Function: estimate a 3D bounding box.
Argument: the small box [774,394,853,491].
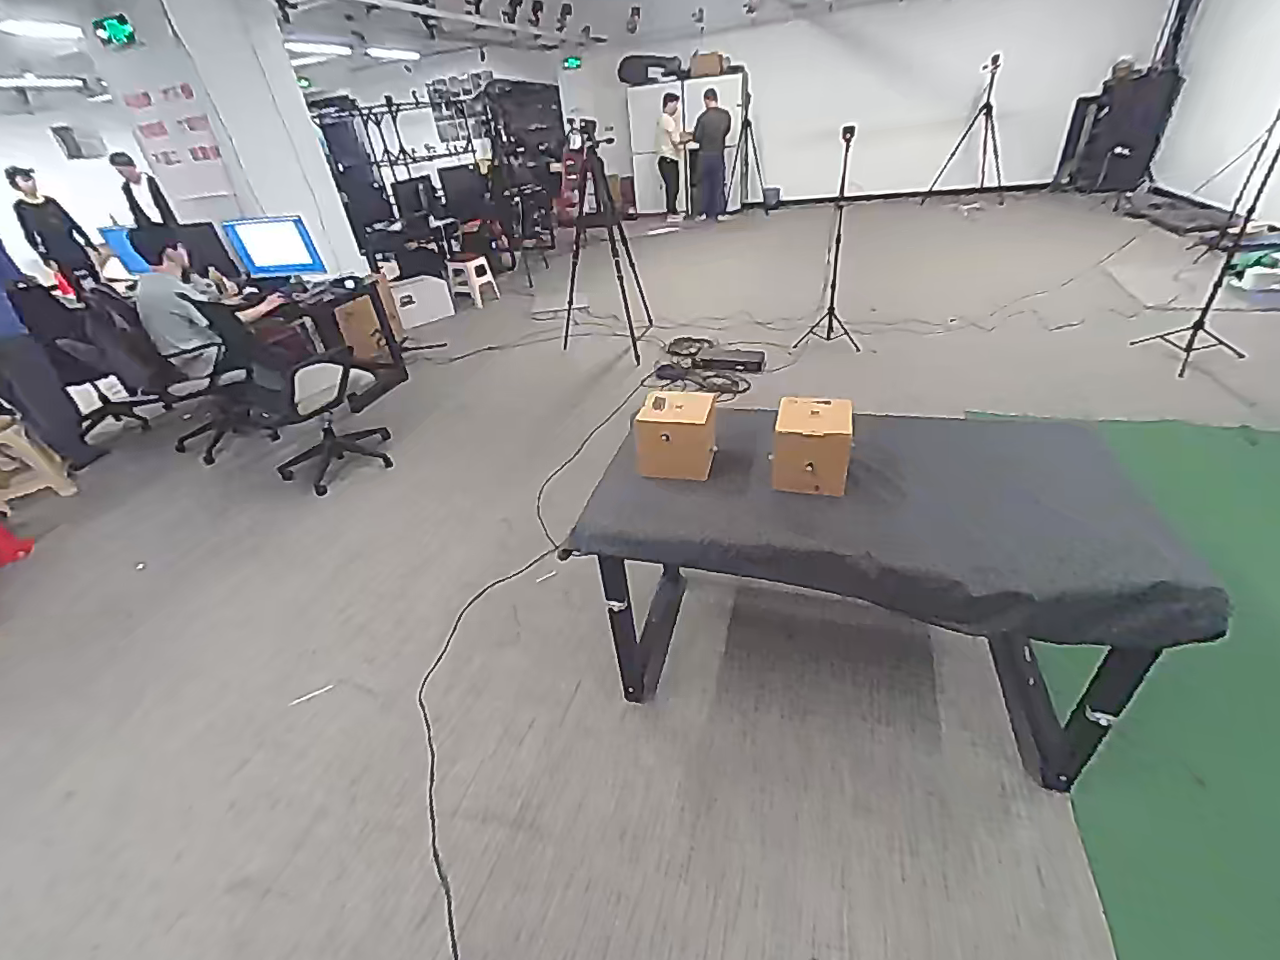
[{"bbox_3d":[0.415,-0.090,1.298,0.168,0.176,0.179,6,37,18],"label":"small box"}]

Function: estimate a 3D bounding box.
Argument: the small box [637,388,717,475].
[{"bbox_3d":[0.102,-0.126,1.400,0.179,0.176,0.168,5,36,15],"label":"small box"}]
